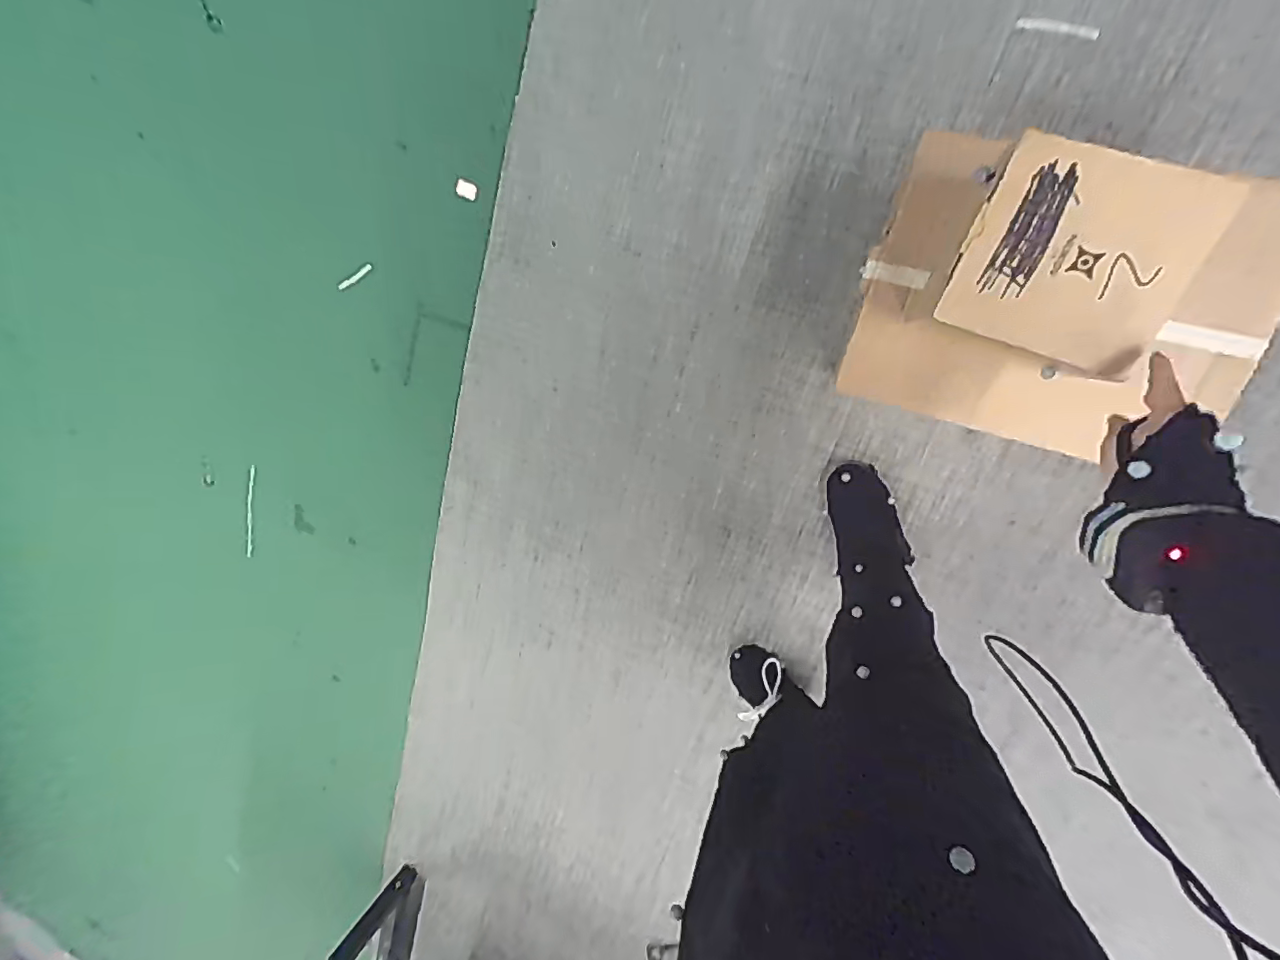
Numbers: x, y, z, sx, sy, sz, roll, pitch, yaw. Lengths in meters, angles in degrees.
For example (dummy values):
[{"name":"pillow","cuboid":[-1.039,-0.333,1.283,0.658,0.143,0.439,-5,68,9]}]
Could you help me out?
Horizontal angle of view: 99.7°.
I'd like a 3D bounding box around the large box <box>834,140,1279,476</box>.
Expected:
[{"name":"large box","cuboid":[0.522,-0.234,0.766,0.408,0.320,0.320,18,109,14]}]
